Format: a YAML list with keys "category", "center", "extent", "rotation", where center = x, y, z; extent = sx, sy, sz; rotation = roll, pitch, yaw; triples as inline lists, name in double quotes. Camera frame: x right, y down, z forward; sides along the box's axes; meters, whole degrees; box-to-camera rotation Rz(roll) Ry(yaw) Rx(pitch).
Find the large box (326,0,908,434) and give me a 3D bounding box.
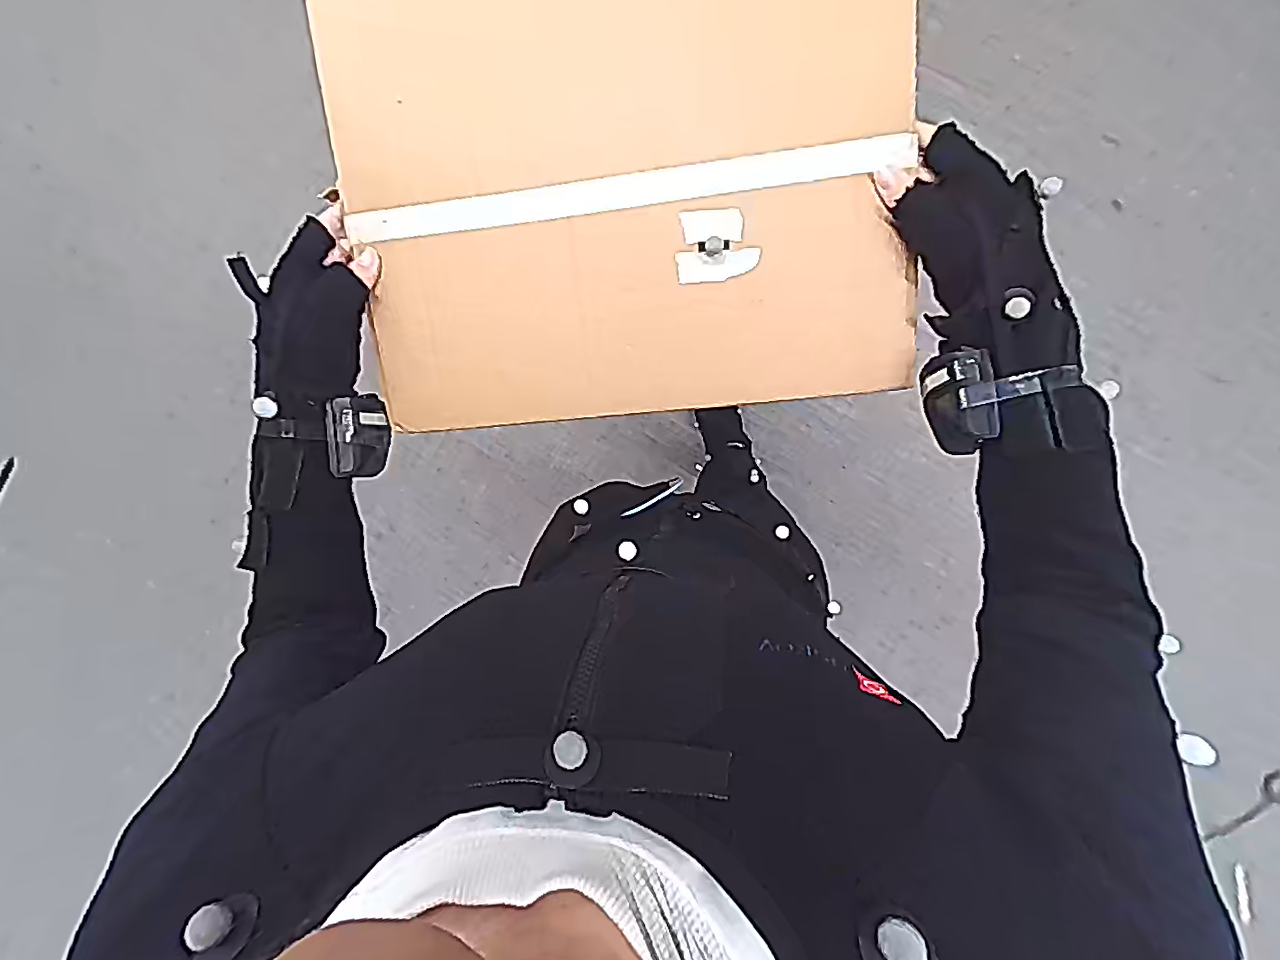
- category: "large box"
  center: [-0.003, -0.239, 0.542]
  extent: [0.408, 0.320, 0.320]
  rotation: [-6, 103, 6]
